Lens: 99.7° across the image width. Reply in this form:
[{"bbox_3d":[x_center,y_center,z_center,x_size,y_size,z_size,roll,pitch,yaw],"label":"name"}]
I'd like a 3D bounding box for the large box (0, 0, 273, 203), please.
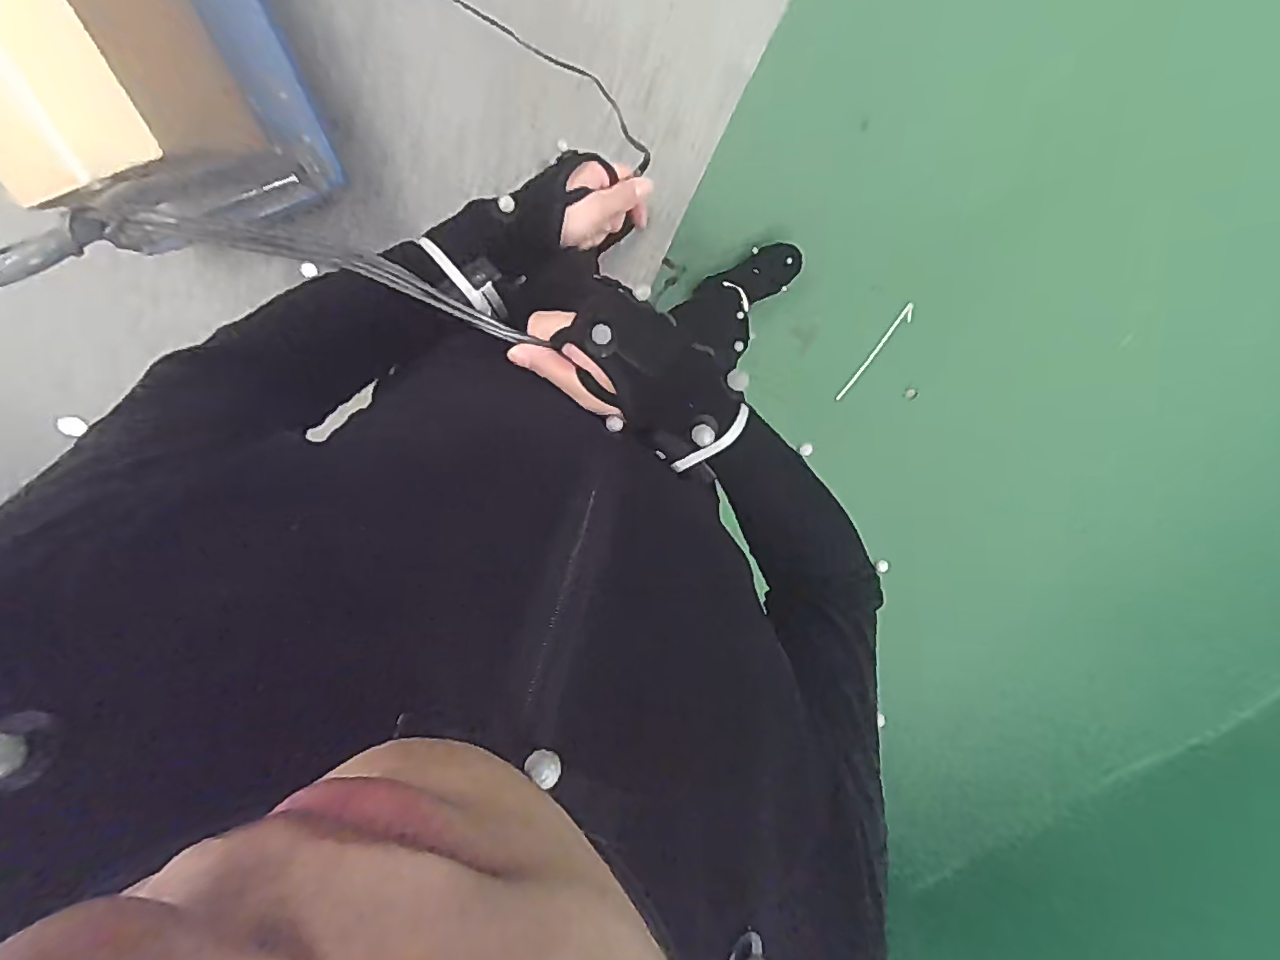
[{"bbox_3d":[-0.981,-0.760,0.959,0.320,0.320,0.408,-13,119,10],"label":"large box"}]
